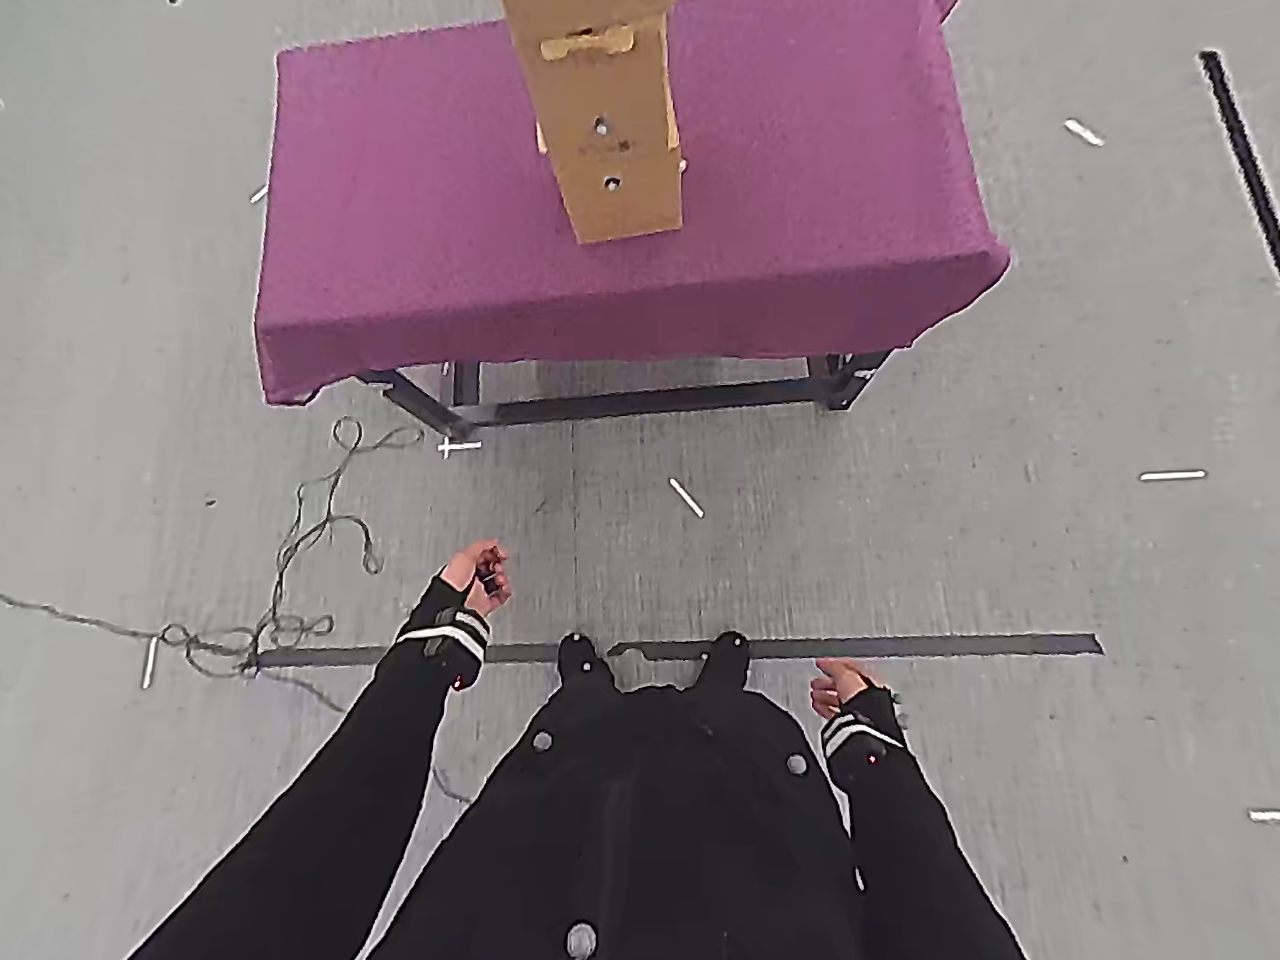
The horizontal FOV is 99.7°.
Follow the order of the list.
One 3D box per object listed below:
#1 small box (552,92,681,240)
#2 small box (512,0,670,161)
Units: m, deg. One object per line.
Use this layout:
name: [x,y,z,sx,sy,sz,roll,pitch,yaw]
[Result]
small box: [-0.033,-0.497,0.834,0.179,0.176,0.168,-8,76,3]
small box: [-0.050,-0.540,0.676,0.168,0.176,0.179,-2,76,6]
